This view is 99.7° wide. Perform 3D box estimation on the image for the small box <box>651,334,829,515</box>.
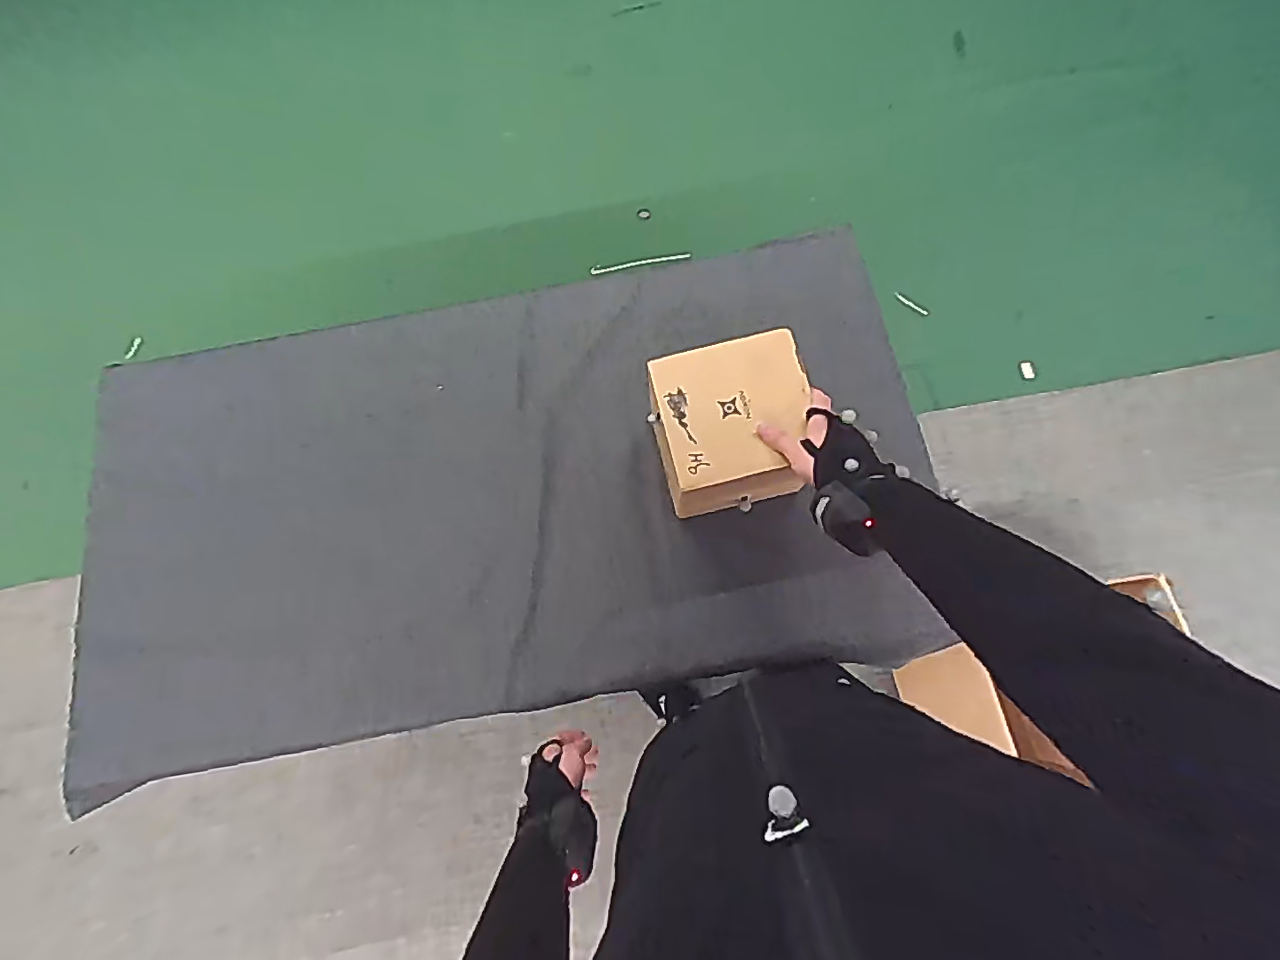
[{"bbox_3d":[0.118,-0.063,0.711,0.179,0.176,0.168,-16,77,-1],"label":"small box"}]
